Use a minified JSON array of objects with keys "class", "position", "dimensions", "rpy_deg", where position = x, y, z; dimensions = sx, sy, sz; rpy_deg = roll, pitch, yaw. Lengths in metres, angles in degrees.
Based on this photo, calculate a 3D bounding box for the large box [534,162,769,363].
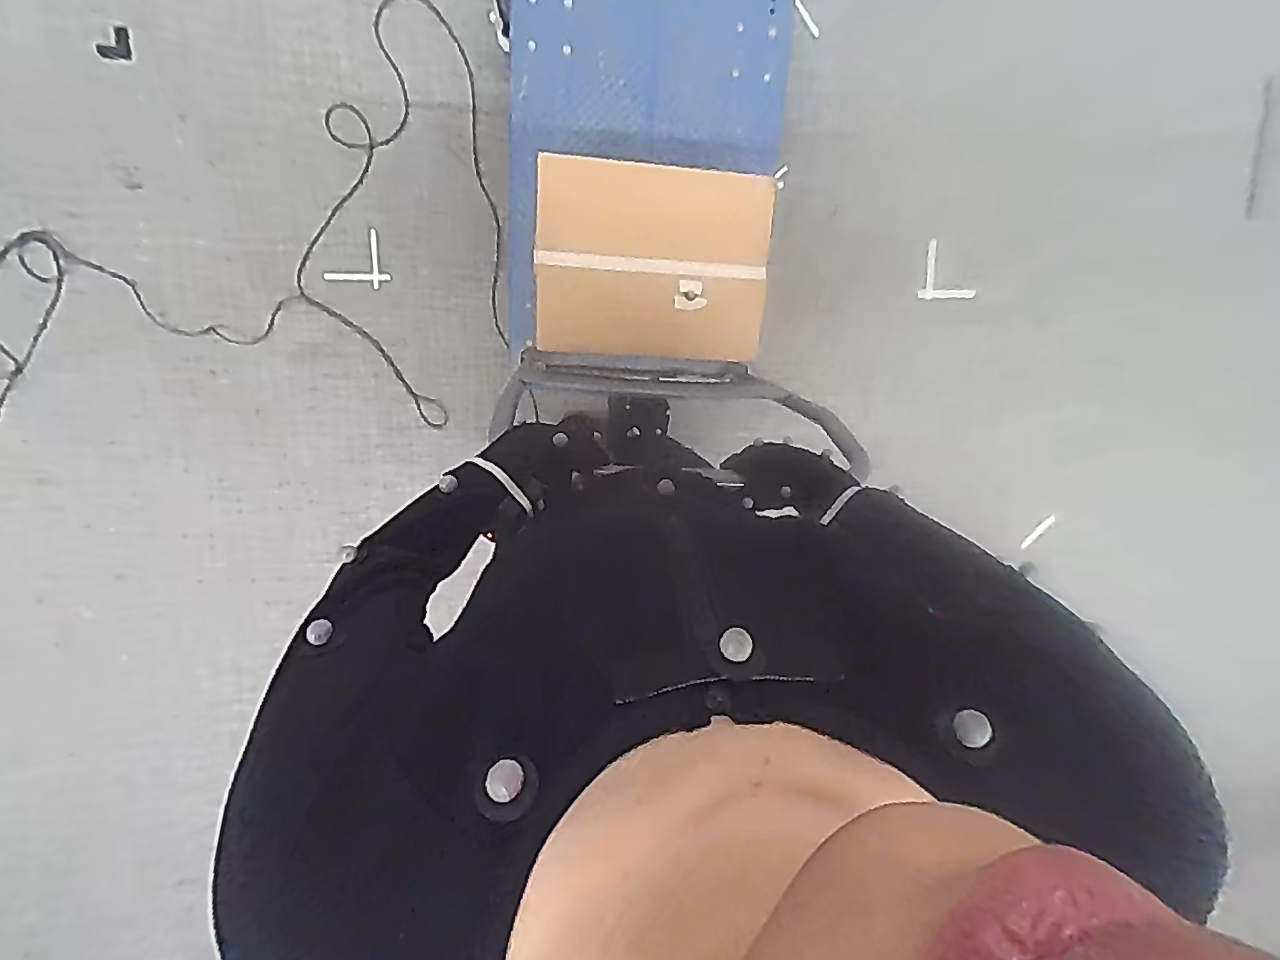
[{"class":"large box","position":[-0.001,-0.405,1.081],"dimensions":[0.408,0.320,0.320],"rpy_deg":[1,106,-9]}]
